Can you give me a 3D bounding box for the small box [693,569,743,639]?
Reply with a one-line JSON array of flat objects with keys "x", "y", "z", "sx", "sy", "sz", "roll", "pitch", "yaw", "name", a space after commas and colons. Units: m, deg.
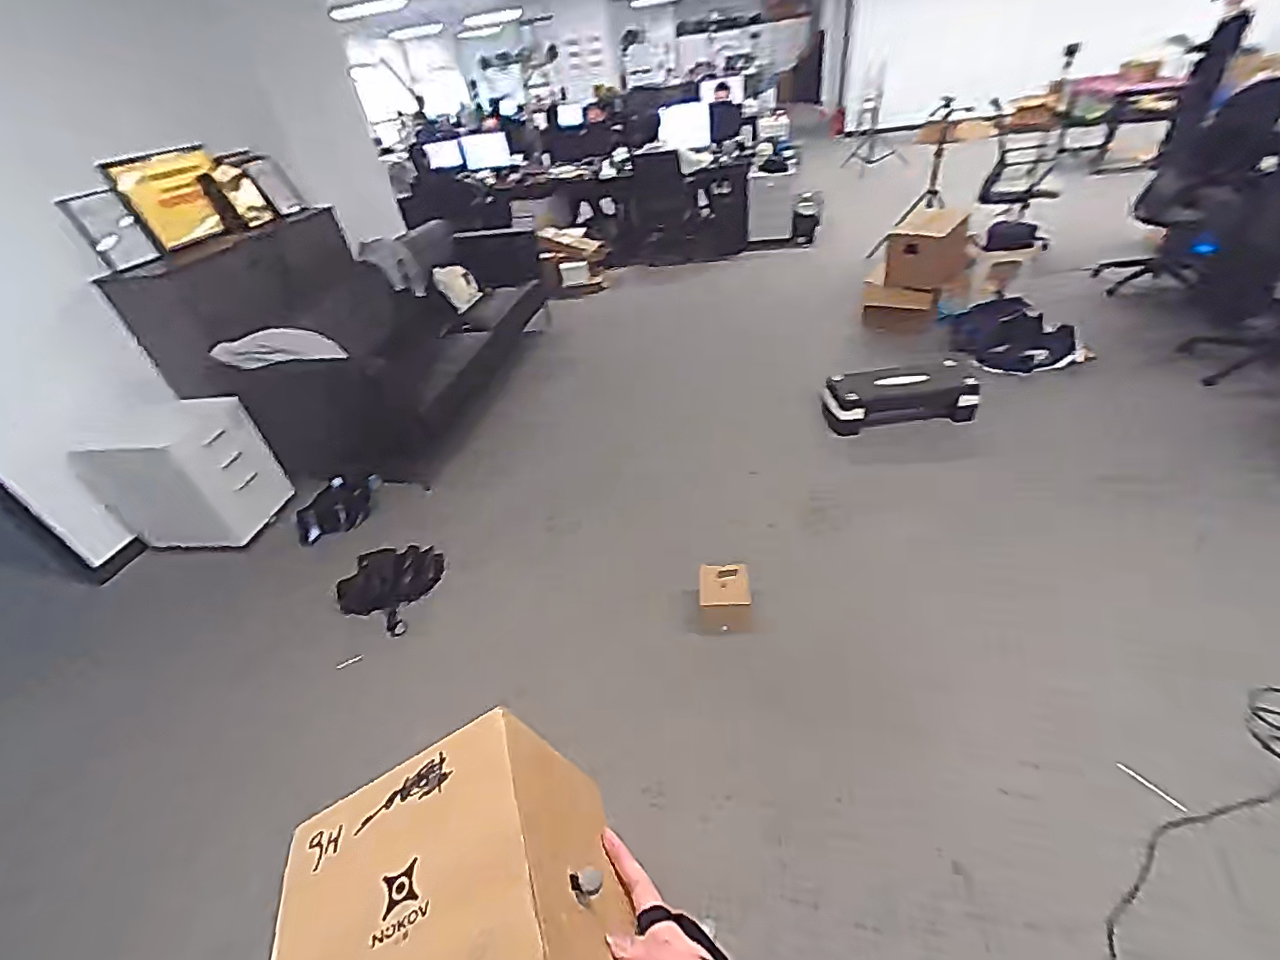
[{"x": 0.270, "y": 0.430, "z": 1.878, "sx": 0.168, "sy": 0.176, "sz": 0.179, "roll": -3, "pitch": 38, "yaw": 7, "name": "small box"}]
